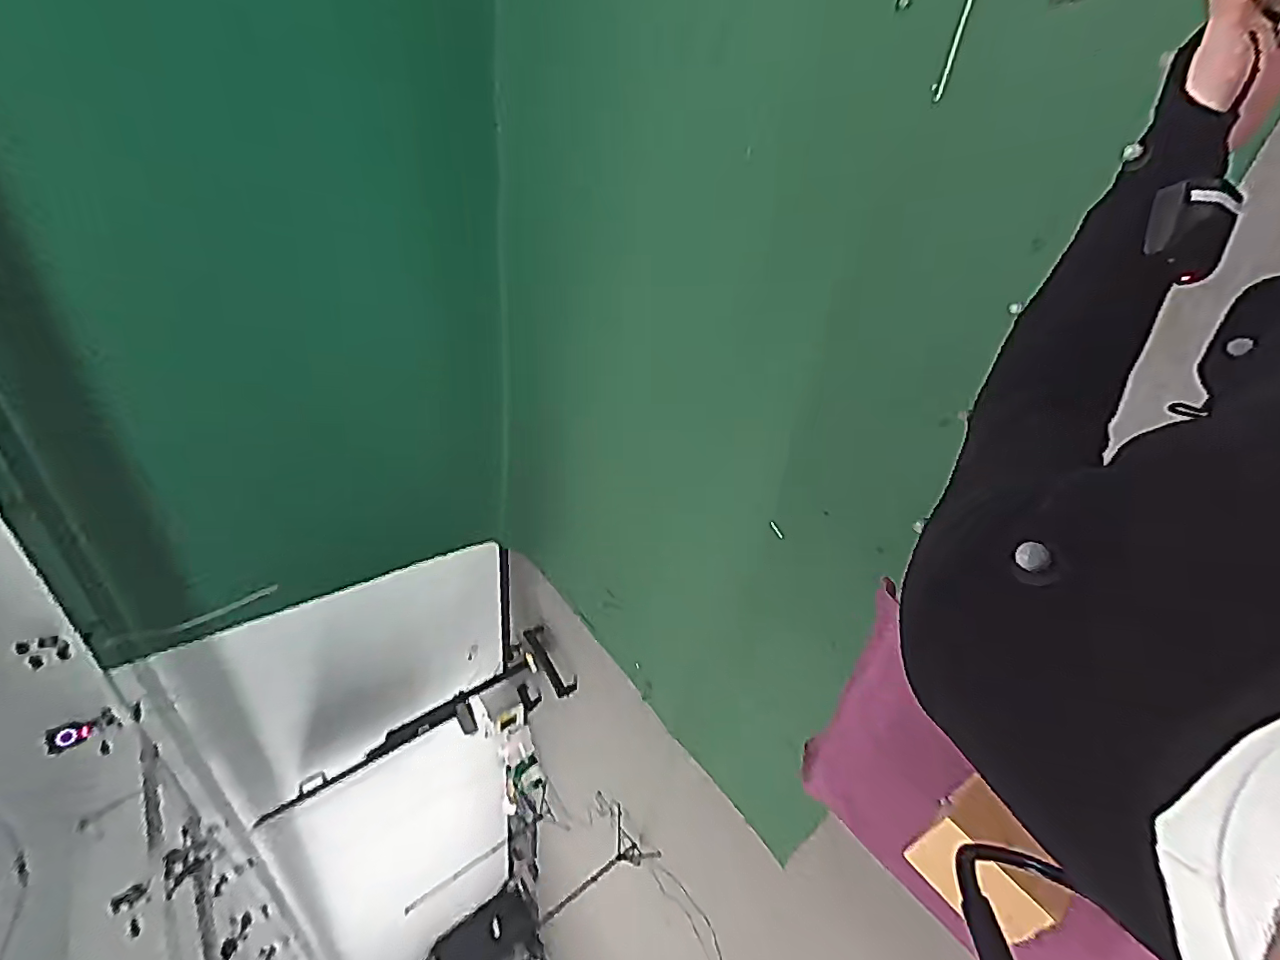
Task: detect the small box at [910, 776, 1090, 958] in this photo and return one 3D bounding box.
[{"bbox_3d":[0.615,0.648,0.930,0.179,0.176,0.168,40,133,34],"label":"small box"}]
